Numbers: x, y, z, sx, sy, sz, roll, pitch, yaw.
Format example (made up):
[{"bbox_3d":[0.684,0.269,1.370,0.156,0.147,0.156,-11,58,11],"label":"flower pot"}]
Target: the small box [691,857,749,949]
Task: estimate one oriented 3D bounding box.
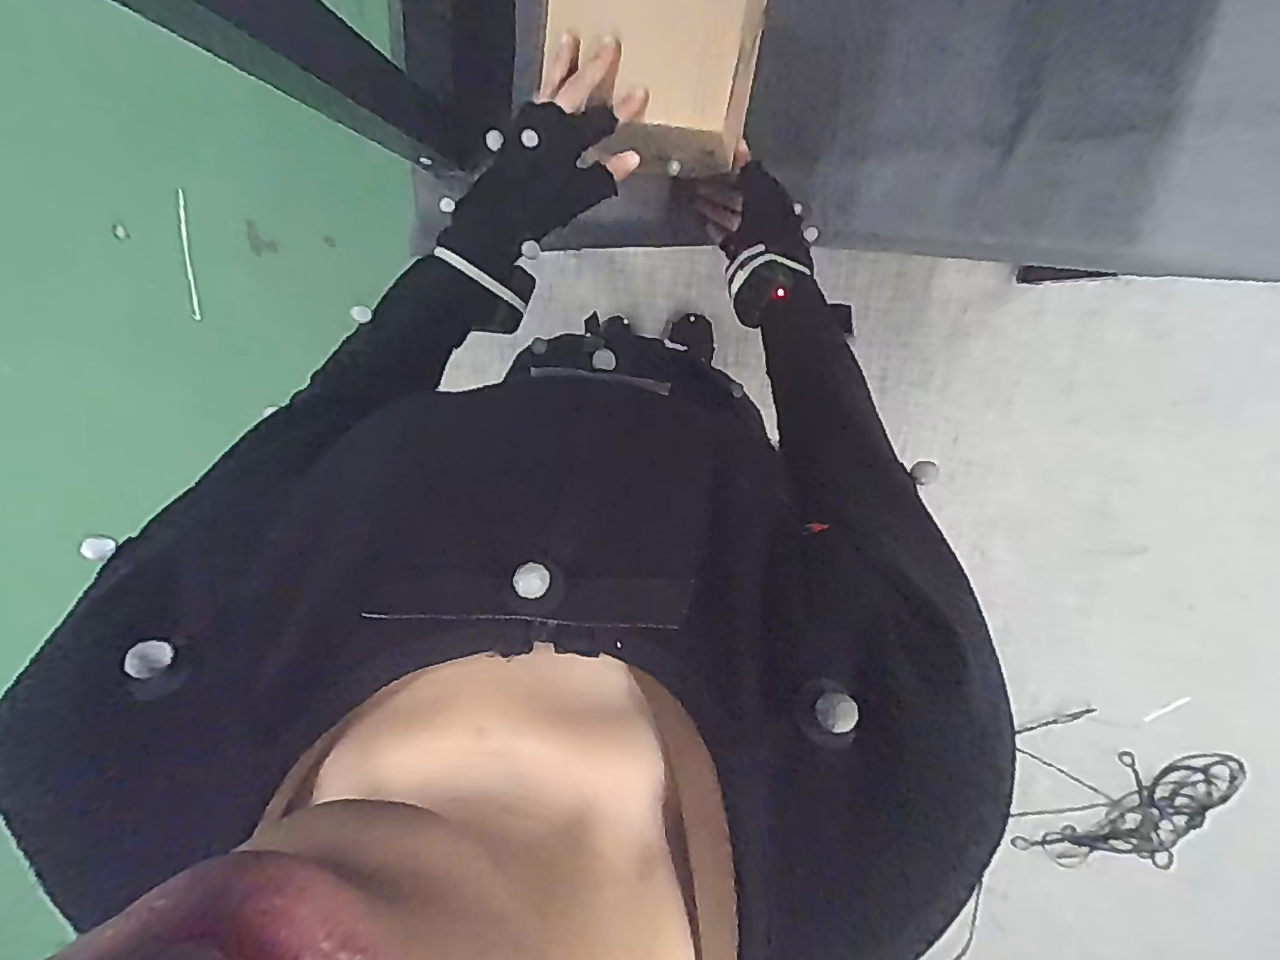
[{"bbox_3d":[0.269,1.442,1.849,0.168,0.176,0.179,7,107,2],"label":"small box"}]
